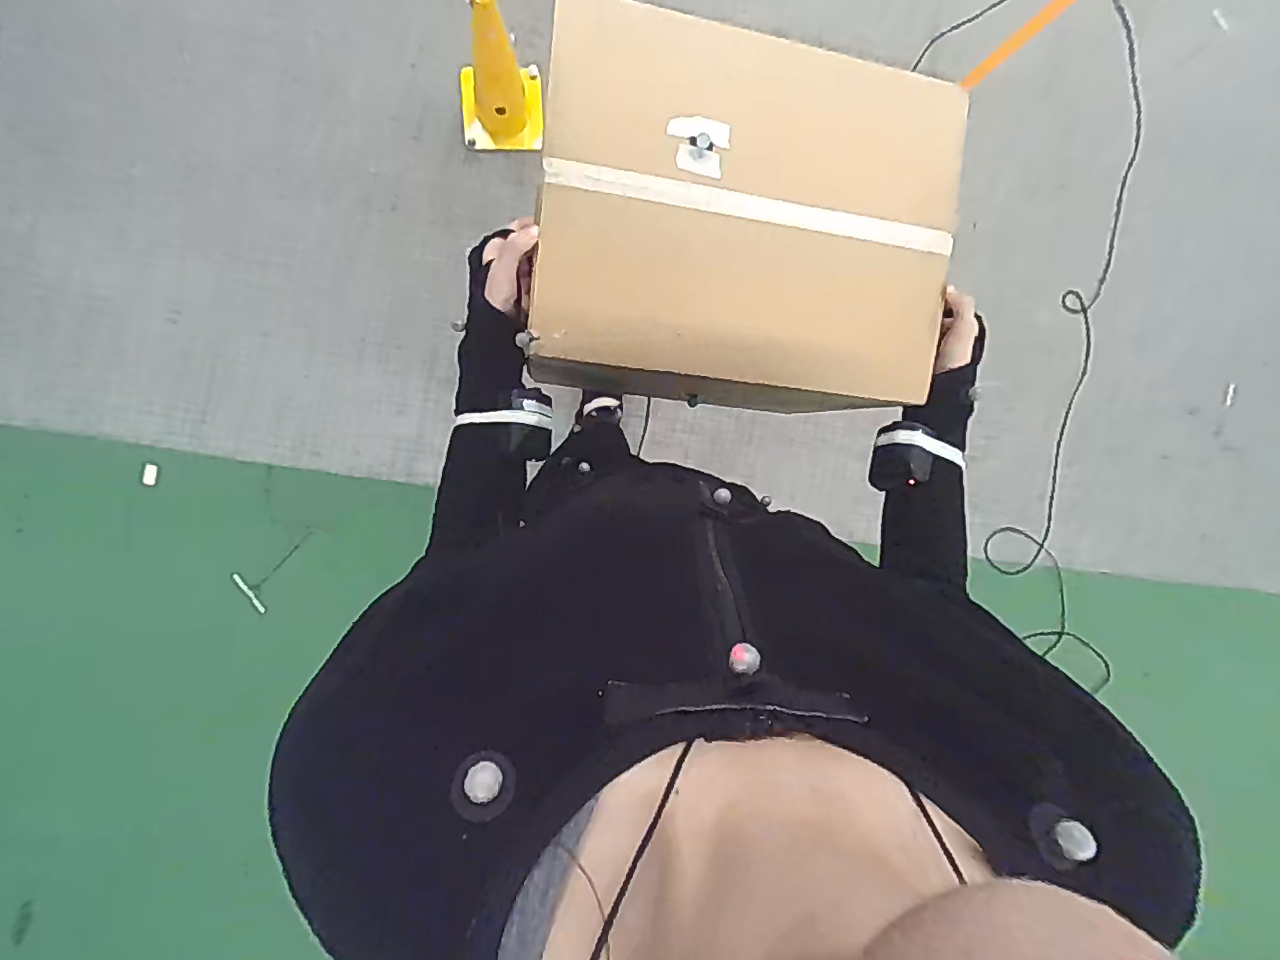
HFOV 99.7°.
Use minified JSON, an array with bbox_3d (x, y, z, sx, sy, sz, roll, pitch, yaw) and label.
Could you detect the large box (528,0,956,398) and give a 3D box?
[{"bbox_3d":[0.083,-0.274,0.662,0.408,0.320,0.320,5,95,-10],"label":"large box"}]
